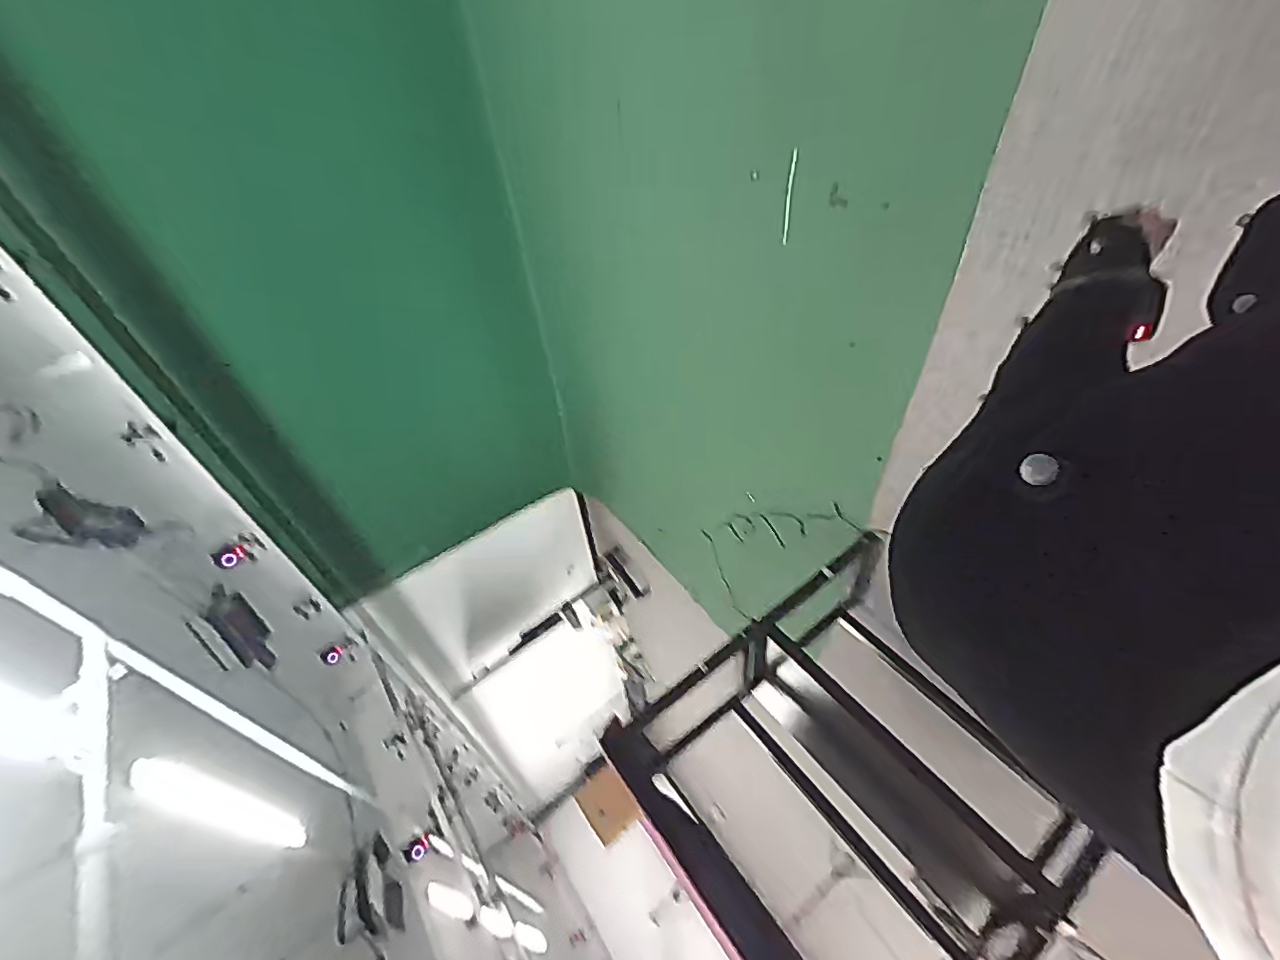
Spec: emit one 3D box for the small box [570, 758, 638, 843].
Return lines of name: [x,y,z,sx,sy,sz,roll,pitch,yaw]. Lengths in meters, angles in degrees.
small box: [-0.119,1.106,1.868,0.179,0.176,0.168,45,153,32]
